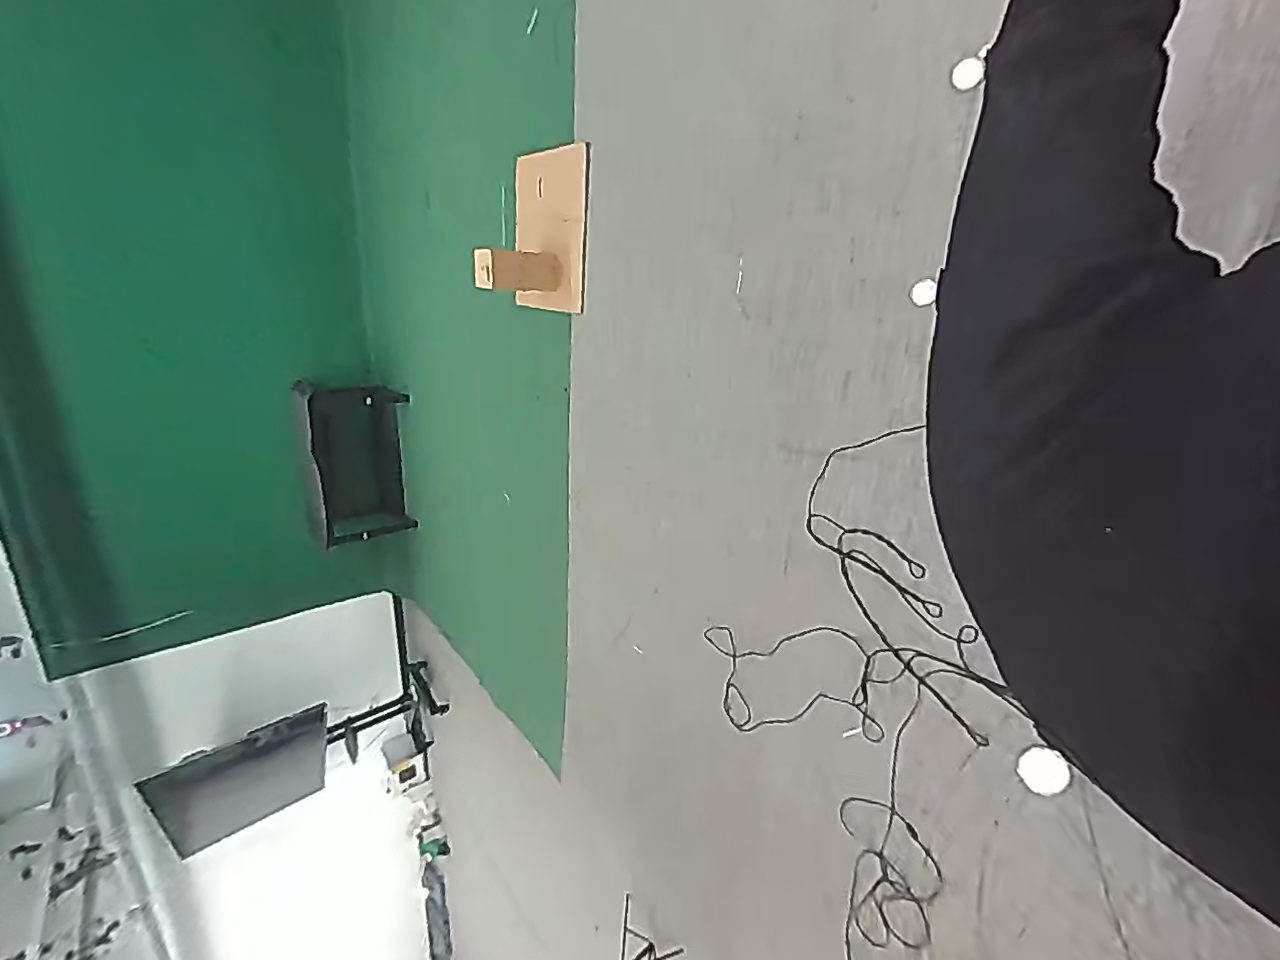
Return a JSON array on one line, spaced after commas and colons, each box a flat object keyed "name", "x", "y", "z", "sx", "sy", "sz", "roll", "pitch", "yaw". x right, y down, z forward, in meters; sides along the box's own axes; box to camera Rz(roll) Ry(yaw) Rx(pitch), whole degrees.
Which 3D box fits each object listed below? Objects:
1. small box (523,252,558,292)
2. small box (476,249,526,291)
[{"name": "small box", "x": -0.508, "y": -0.993, "z": 2.582, "sx": 0.179, "sy": 0.176, "sz": 0.168, "roll": 23, "pitch": 118, "yaw": 45}, {"name": "small box", "x": -0.633, "y": -0.963, "z": 2.480, "sx": 0.179, "sy": 0.176, "sz": 0.168, "roll": 26, "pitch": 119, "yaw": 45}]
